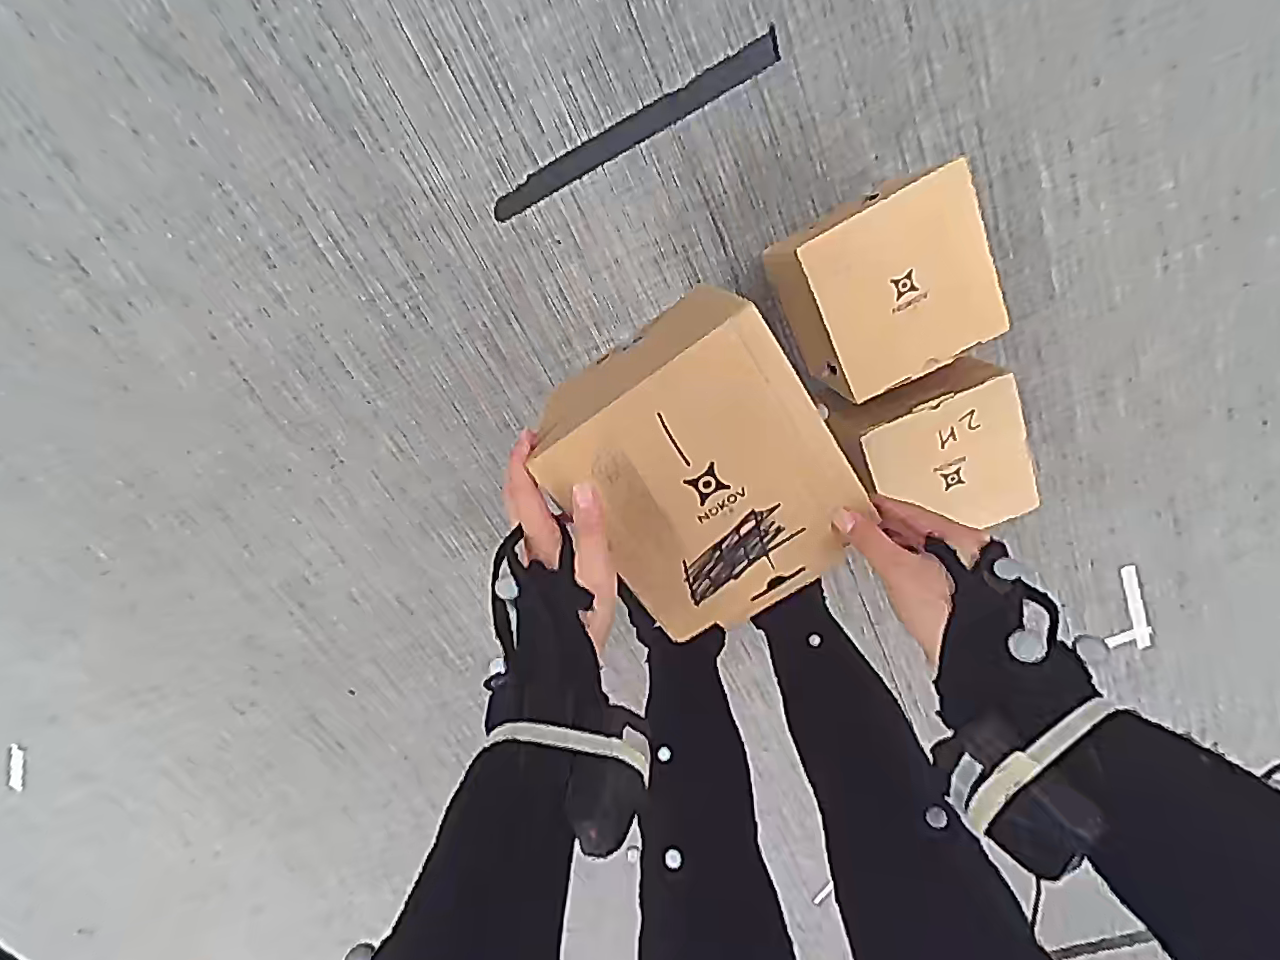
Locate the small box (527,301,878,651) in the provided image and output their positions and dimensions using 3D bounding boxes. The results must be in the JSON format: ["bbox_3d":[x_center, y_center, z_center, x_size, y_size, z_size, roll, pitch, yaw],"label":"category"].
[{"bbox_3d":[0.040,-0.015,0.413,0.168,0.176,0.179,-34,111,9],"label":"small box"}]
